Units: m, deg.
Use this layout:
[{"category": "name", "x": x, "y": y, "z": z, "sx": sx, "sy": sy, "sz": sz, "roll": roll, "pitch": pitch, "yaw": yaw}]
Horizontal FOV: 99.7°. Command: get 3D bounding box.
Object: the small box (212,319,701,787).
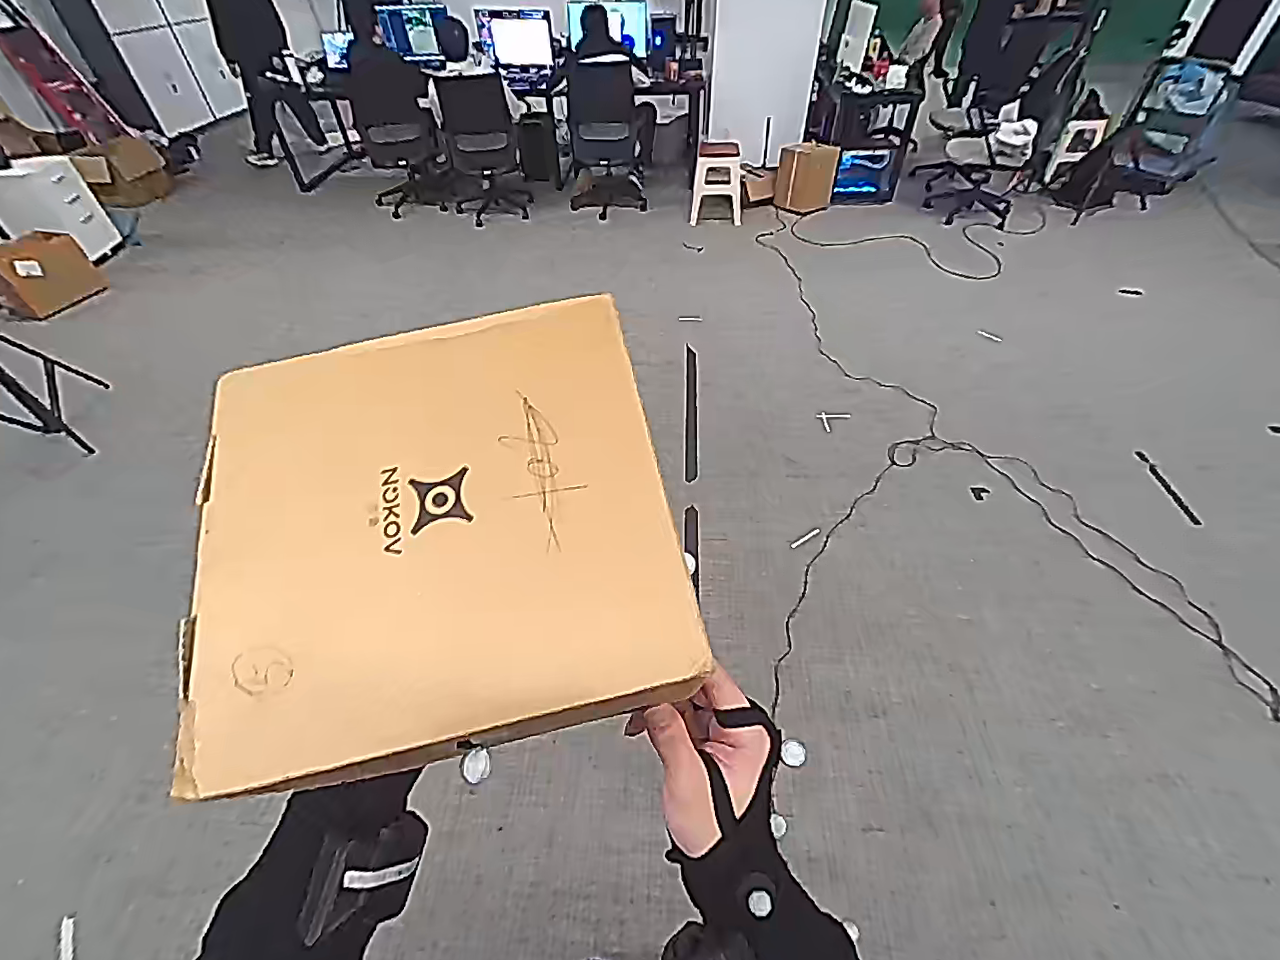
[{"category": "small box", "x": -0.074, "y": 0.047, "z": 0.291, "sx": 0.179, "sy": 0.176, "sz": 0.168, "roll": -13, "pitch": 67, "yaw": -3}]
